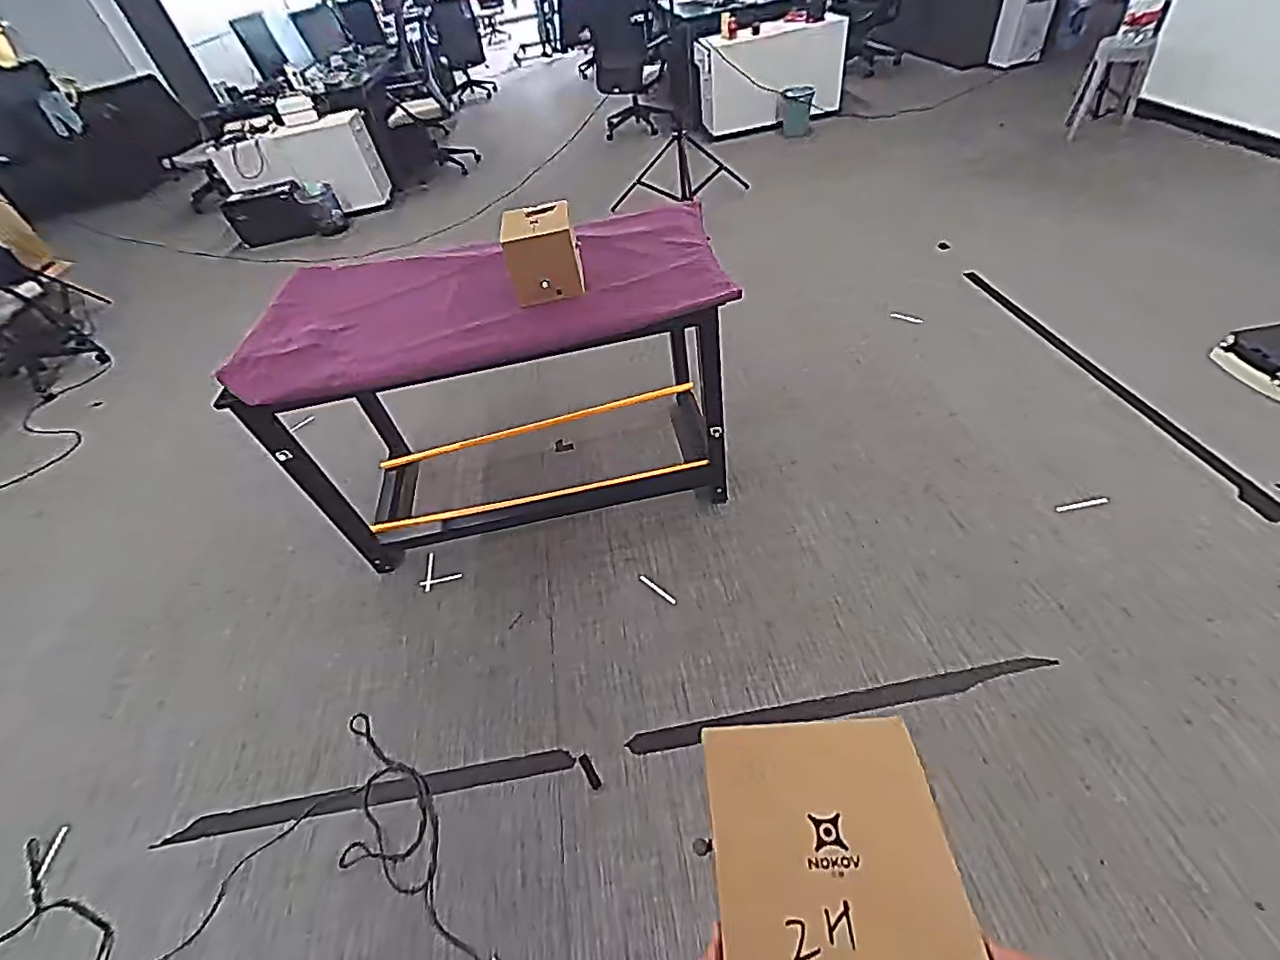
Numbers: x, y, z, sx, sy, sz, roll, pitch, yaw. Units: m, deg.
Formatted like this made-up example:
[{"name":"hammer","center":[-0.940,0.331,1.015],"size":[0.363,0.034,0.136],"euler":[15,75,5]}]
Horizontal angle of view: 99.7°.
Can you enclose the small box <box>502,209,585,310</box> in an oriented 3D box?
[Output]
[{"name":"small box","center":[-0.238,-0.555,1.363],"size":[0.168,0.176,0.179],"euler":[-11,46,1]}]

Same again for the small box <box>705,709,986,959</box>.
[{"name":"small box","center":[0.141,0.312,0.444],"size":[0.168,0.176,0.179],"euler":[-5,44,4]}]
